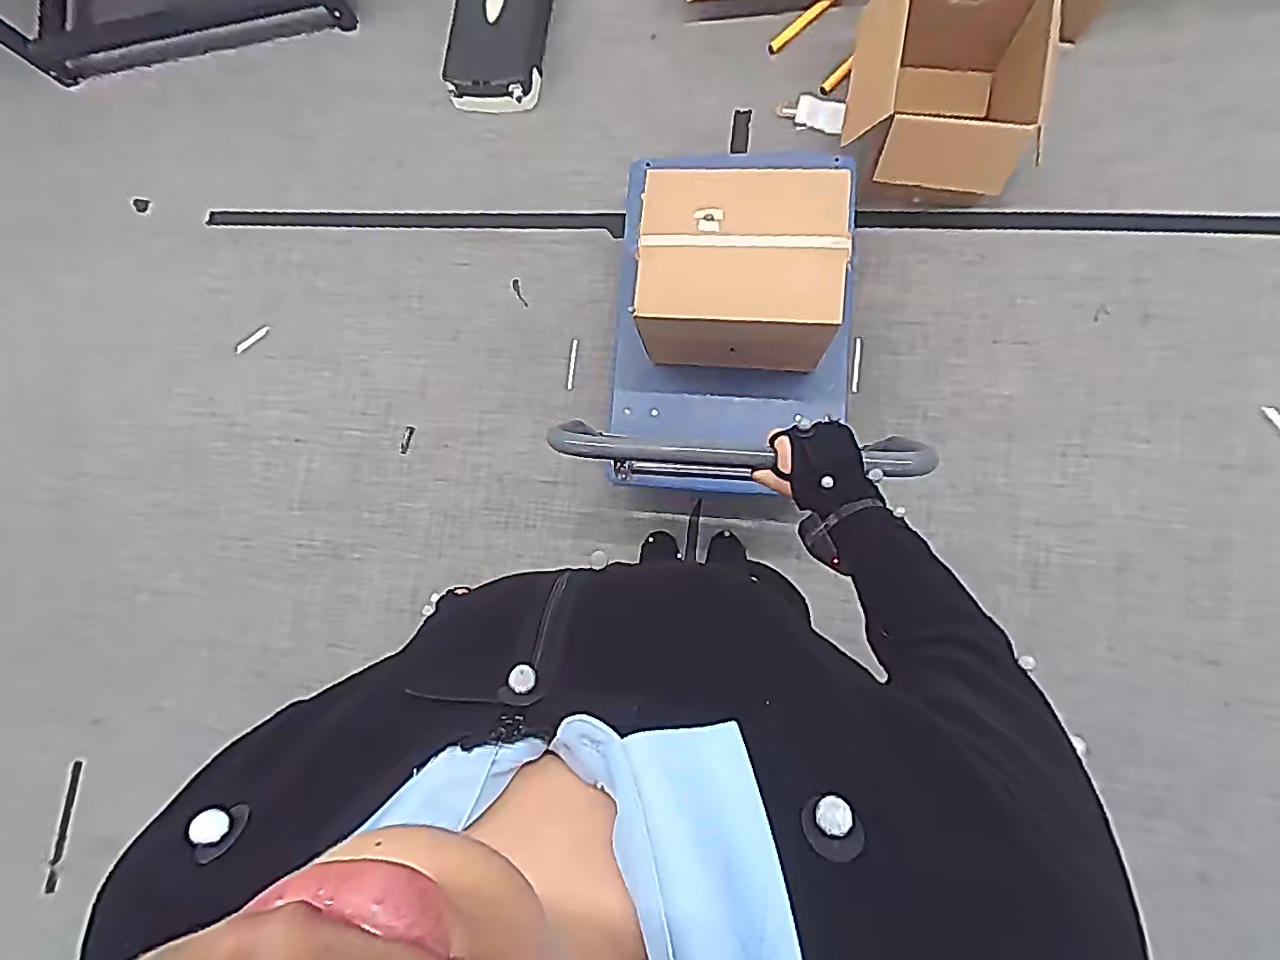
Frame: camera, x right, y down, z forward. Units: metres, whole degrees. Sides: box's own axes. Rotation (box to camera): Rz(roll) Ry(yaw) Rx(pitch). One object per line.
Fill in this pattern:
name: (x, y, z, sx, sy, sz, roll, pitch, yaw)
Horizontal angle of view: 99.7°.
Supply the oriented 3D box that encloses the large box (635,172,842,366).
large box: (0.219, -0.452, 1.227, 0.408, 0.320, 0.320, 4, 84, 9)
